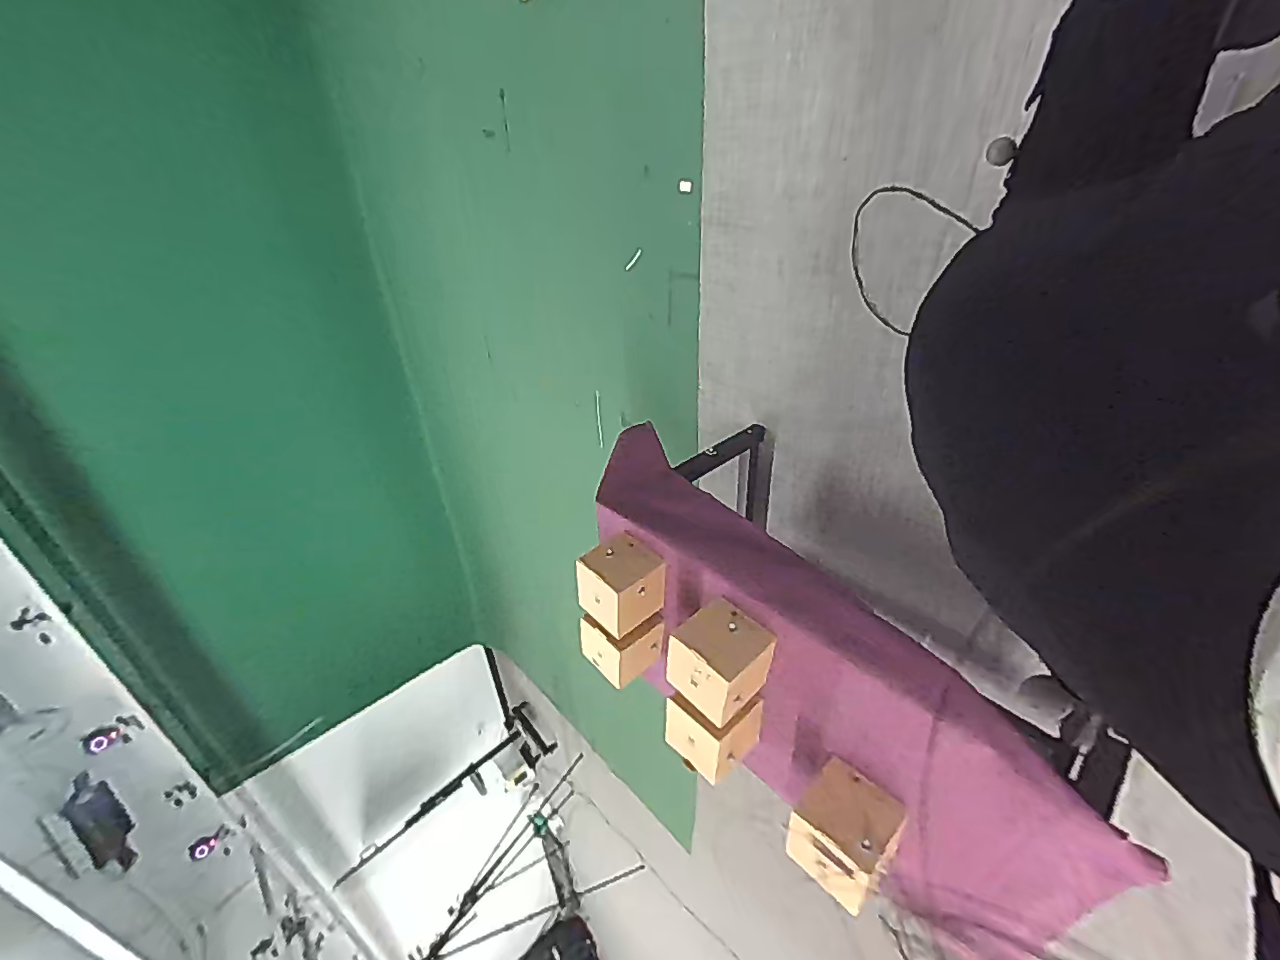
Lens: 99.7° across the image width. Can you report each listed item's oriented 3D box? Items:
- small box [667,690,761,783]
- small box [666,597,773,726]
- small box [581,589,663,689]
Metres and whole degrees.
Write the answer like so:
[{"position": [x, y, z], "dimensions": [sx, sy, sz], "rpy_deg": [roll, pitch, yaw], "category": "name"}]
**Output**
[{"position": [0.184, 0.593, 1.345], "dimensions": [0.168, 0.176, 0.179], "rpy_deg": [28, 133, 39], "category": "small box"}, {"position": [0.179, 0.403, 1.218], "dimensions": [0.168, 0.176, 0.179], "rpy_deg": [33, 136, 35], "category": "small box"}, {"position": [-0.051, 0.447, 1.543], "dimensions": [0.168, 0.176, 0.179], "rpy_deg": [35, 136, 34], "category": "small box"}]
